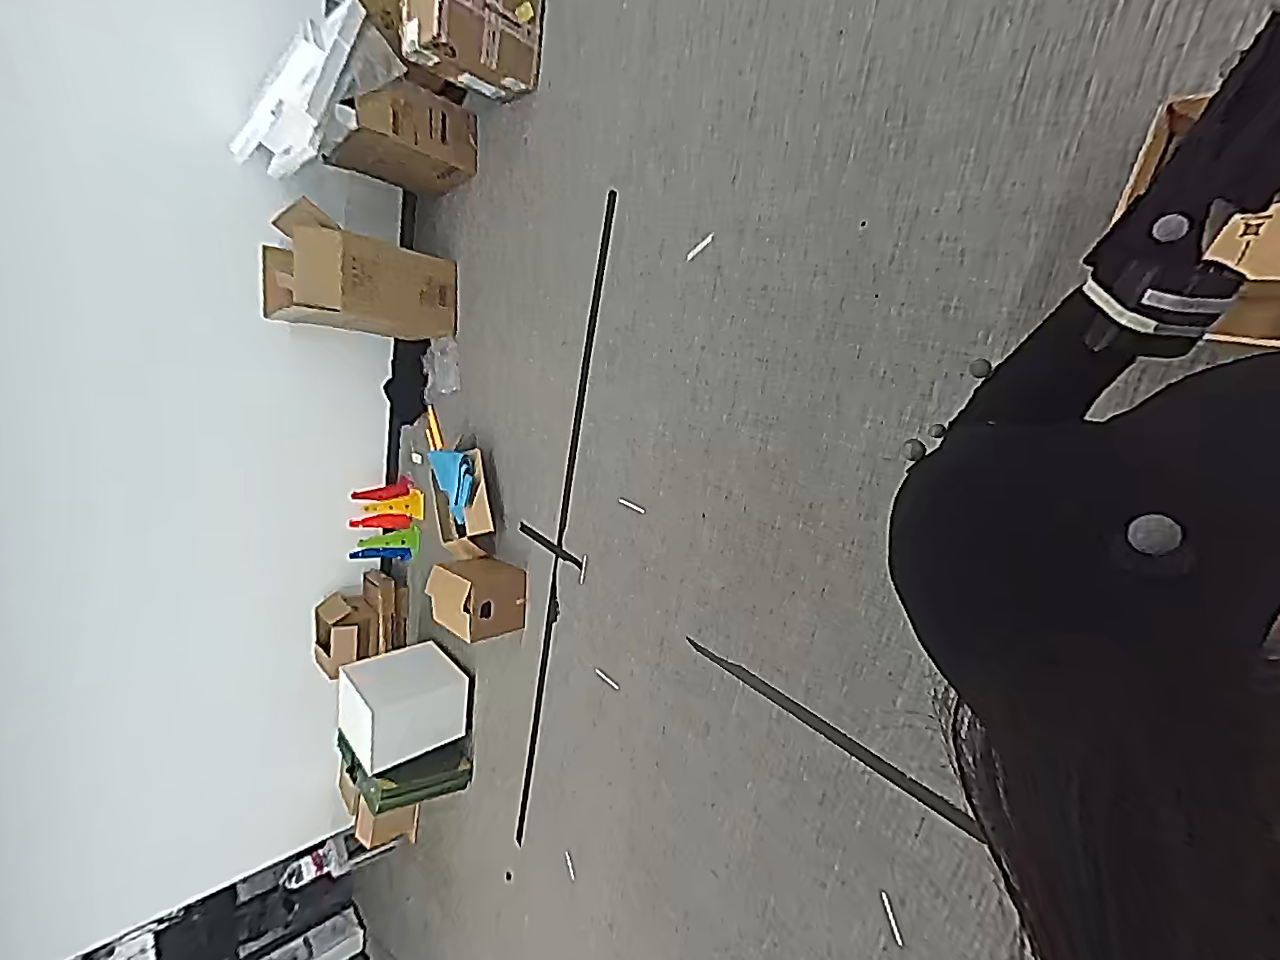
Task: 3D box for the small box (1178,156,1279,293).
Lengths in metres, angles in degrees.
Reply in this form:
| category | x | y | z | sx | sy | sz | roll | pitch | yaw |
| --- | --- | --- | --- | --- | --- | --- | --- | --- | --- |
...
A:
| category | x | y | z | sx | sy | sz | roll | pitch | yaw |
| --- | --- | --- | --- | --- | --- | --- | --- | --- | --- |
| small box | 1.054 | -0.428 | 0.919 | 0.168 | 0.176 | 0.179 | 21 | 108 | 41 |
